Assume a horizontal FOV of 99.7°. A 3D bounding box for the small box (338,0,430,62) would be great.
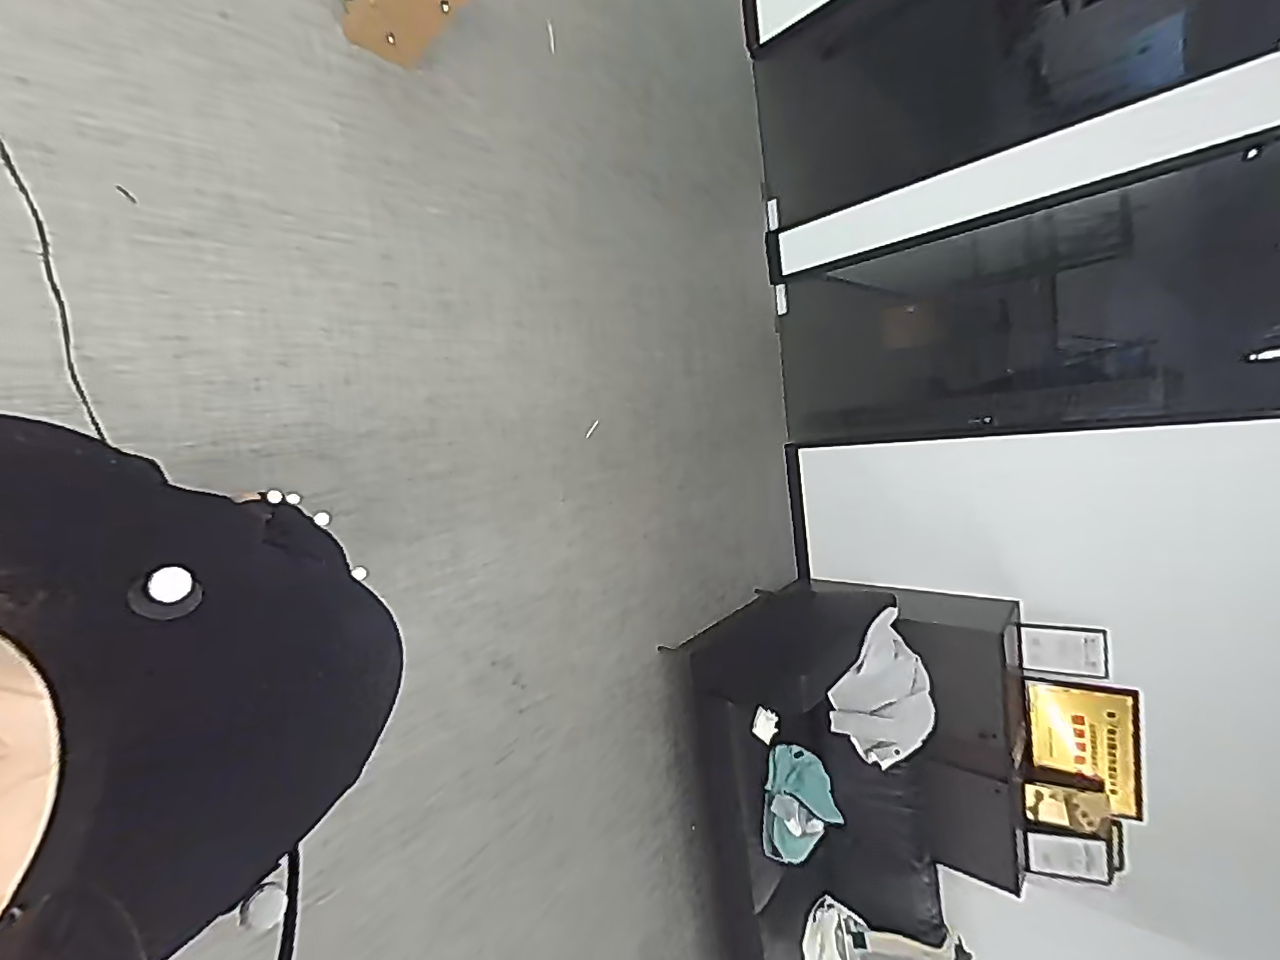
[{"bbox_3d":[-0.687,-1.274,1.448,0.179,0.176,0.168,-4,93,-46],"label":"small box"}]
